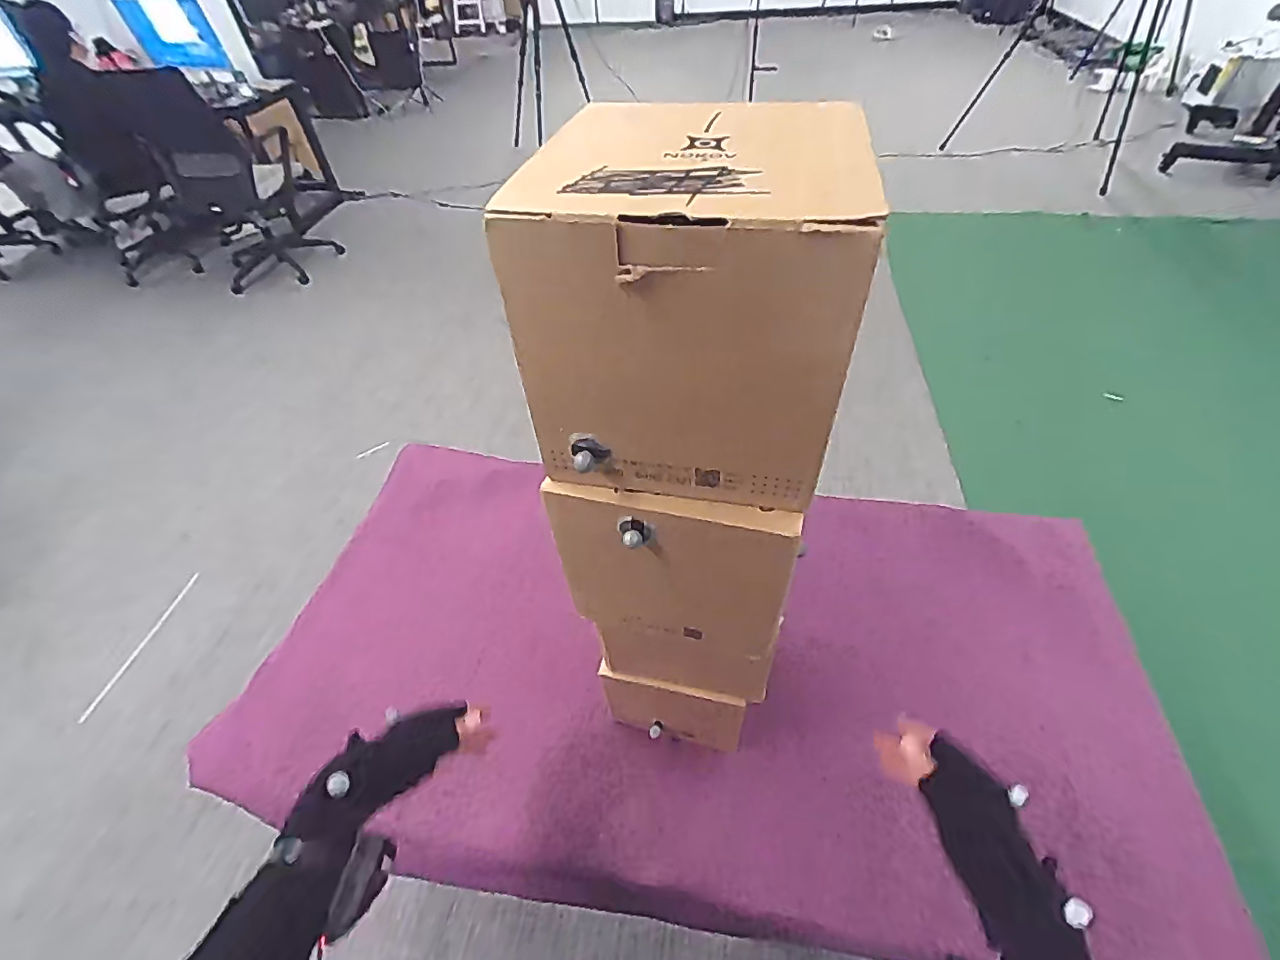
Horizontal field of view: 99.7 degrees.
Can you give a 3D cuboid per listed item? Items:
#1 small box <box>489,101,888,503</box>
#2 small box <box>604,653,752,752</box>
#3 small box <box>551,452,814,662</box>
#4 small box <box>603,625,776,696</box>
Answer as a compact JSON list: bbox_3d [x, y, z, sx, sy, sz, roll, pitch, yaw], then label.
[{"bbox_3d":[0.036,-0.106,0.327,0.168,0.176,0.179,7,48,10],"label":"small box"},{"bbox_3d":[0.063,0.218,0.694,0.168,0.176,0.179,8,50,13],"label":"small box"},{"bbox_3d":[0.046,0.016,0.438,0.168,0.176,0.179,9,48,13],"label":"small box"},{"bbox_3d":[0.060,0.109,0.574,0.179,0.176,0.168,7,49,11],"label":"small box"}]
